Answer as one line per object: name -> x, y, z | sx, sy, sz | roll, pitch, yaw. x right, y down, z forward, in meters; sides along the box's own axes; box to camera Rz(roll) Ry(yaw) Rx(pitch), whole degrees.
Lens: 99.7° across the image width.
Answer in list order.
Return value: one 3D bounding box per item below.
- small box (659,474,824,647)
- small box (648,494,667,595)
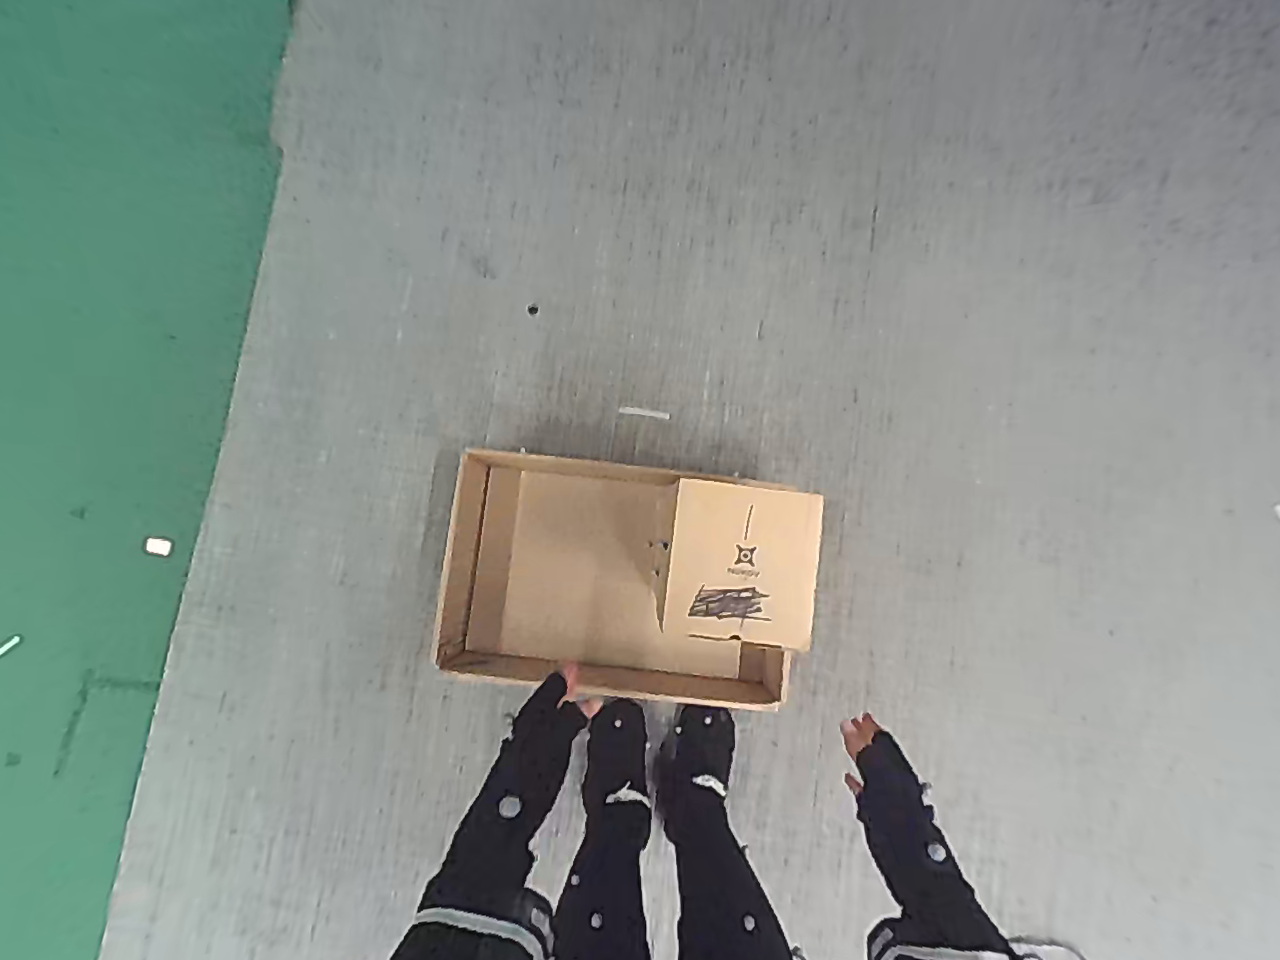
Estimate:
small box -> 0.115, 0.095, 0.680 | 0.168, 0.176, 0.179 | 7, 84, 0
small box -> 0.101, 0.121, 1.008 | 0.168, 0.176, 0.179 | 2, 84, 1
